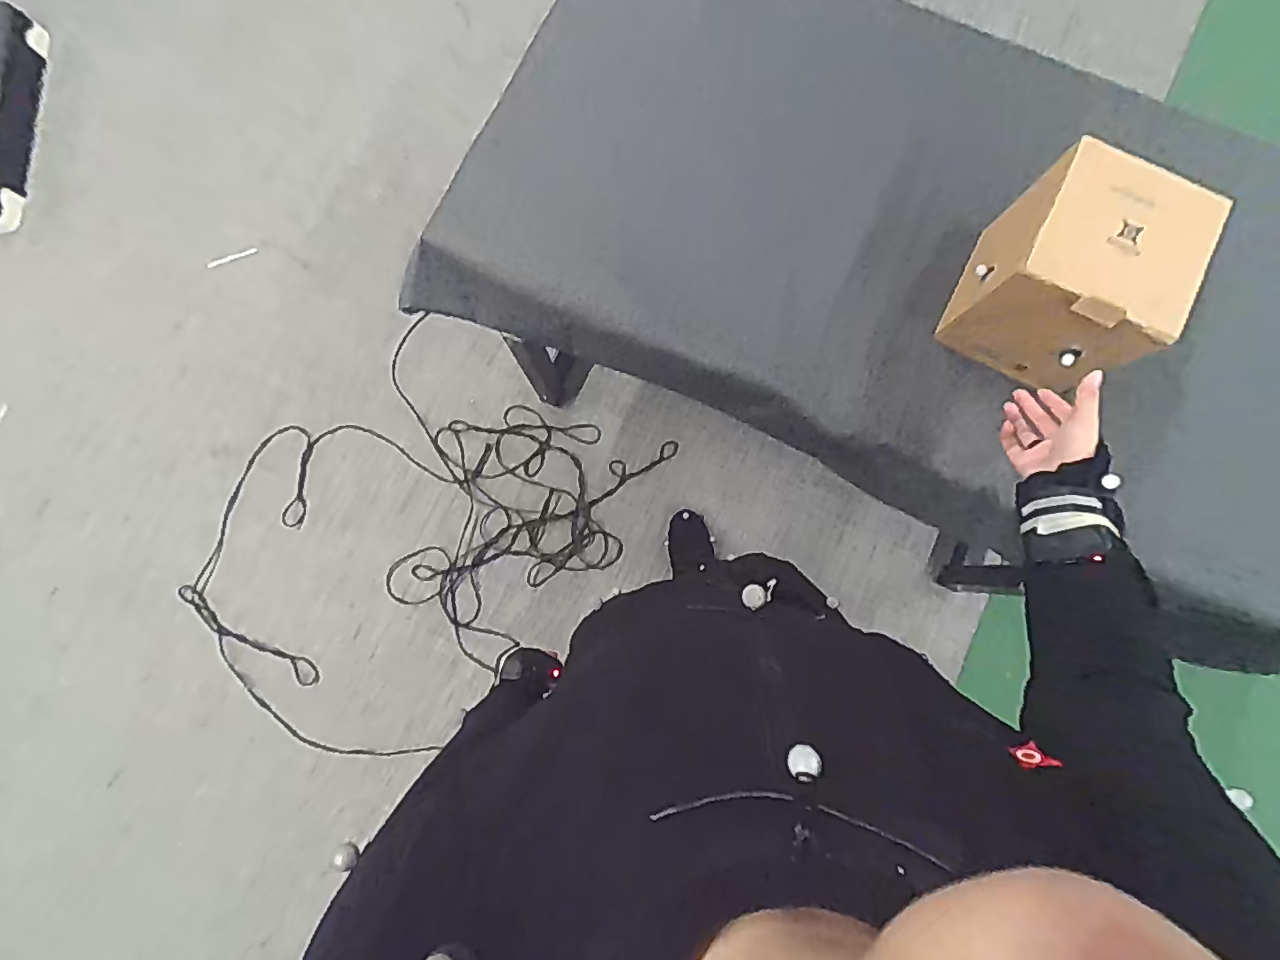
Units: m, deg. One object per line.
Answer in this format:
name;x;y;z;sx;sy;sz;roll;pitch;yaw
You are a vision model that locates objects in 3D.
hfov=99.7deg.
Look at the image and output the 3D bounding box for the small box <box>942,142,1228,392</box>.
small box;0.486;-0.226;0.621;0.168;0.176;0.179;28;81;3
